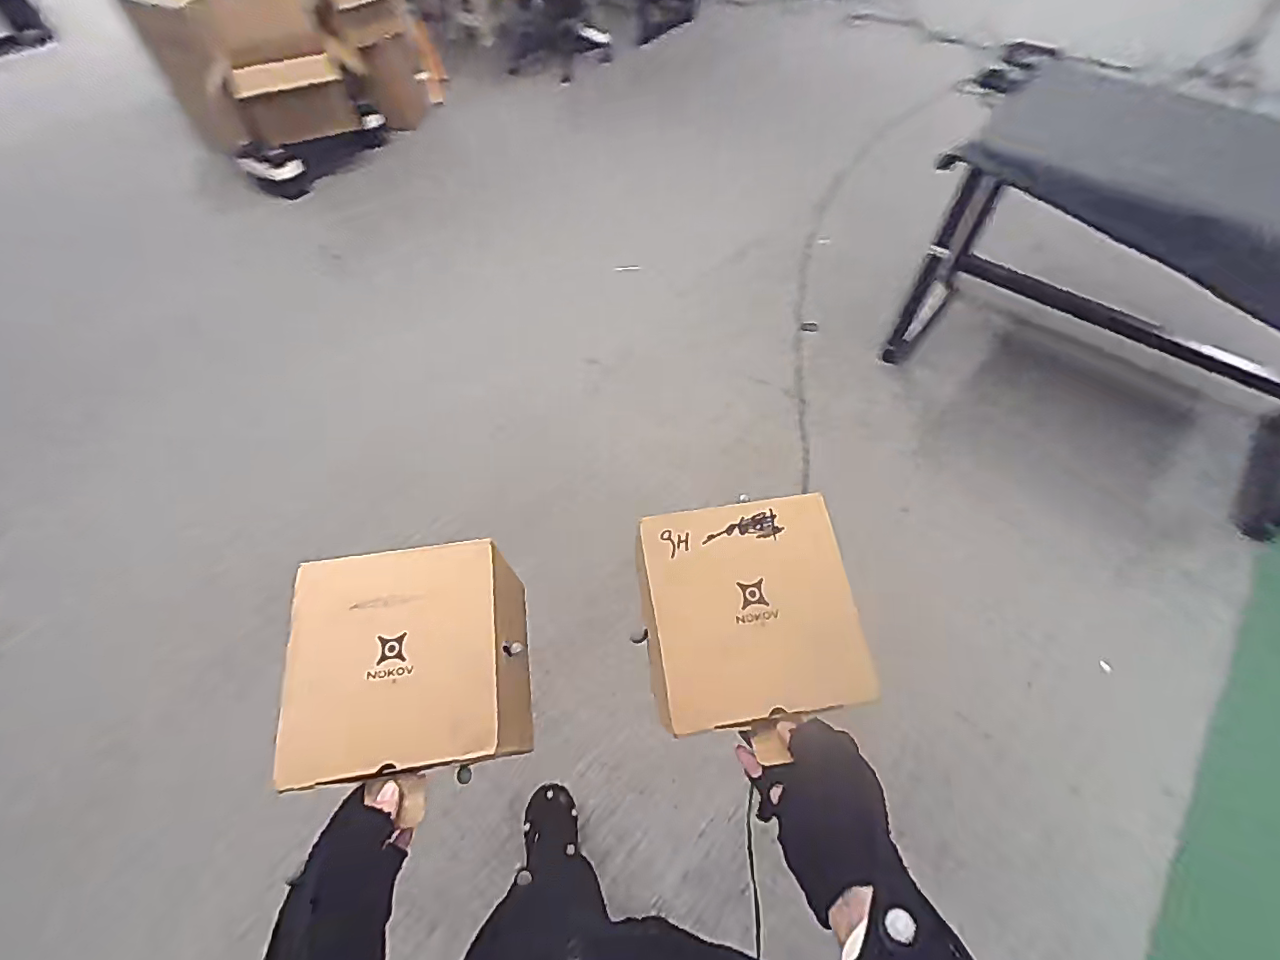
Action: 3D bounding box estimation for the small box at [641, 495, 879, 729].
[{"bbox_3d":[0.095,0.128,0.523,0.168,0.176,0.179,-6,71,-6],"label":"small box"}]
